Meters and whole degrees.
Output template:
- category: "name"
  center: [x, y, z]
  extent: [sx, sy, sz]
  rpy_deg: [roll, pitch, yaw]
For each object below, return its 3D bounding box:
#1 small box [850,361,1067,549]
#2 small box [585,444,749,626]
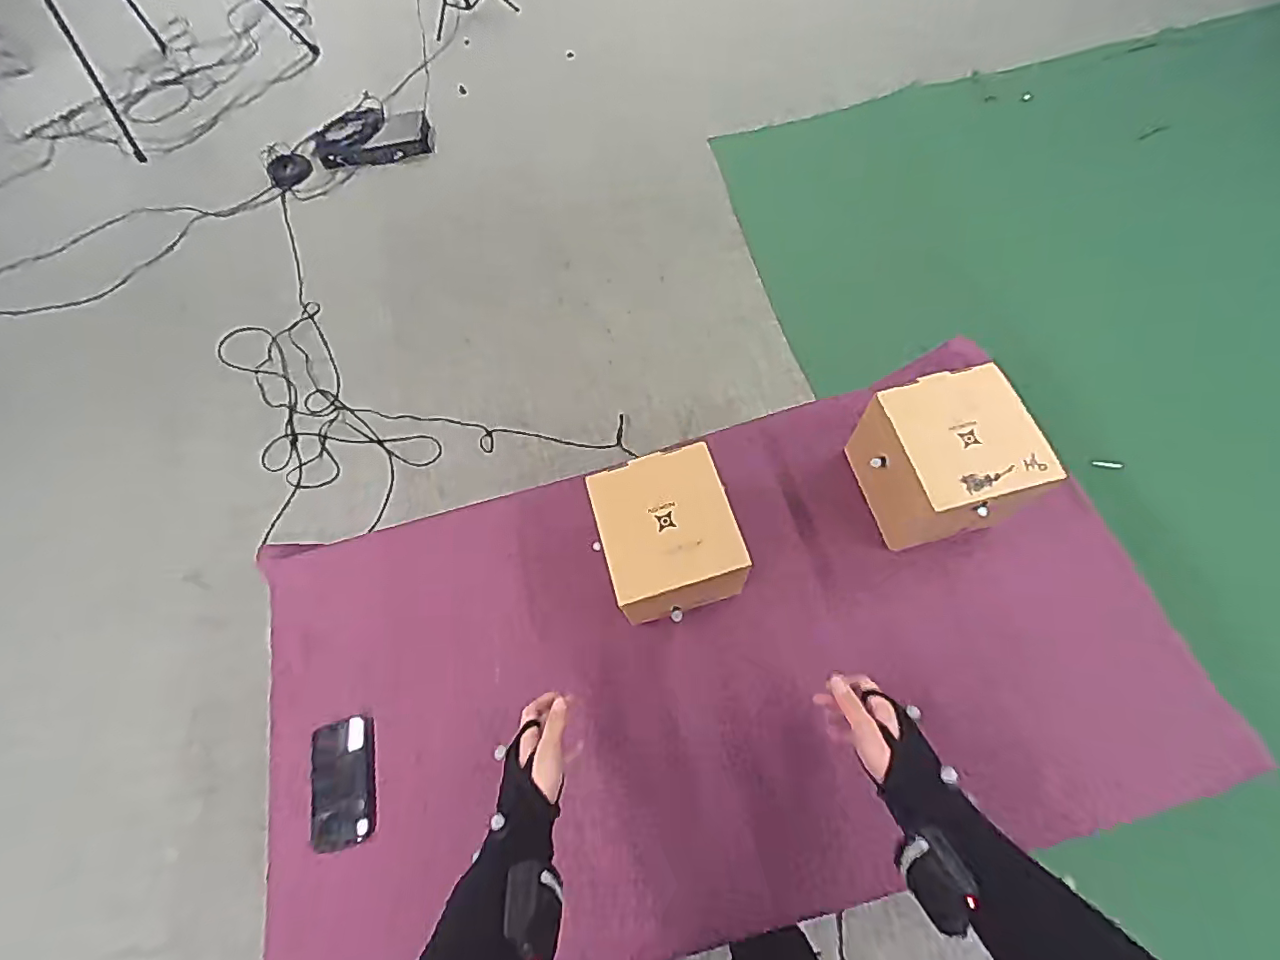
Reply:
- category: "small box"
  center: [0.409, -0.027, 0.737]
  extent: [0.168, 0.176, 0.179]
  rpy_deg: [-16, 65, 1]
- category: "small box"
  center: [0.036, 0.081, 0.735]
  extent: [0.168, 0.176, 0.179]
  rpy_deg: [-17, 66, 0]
